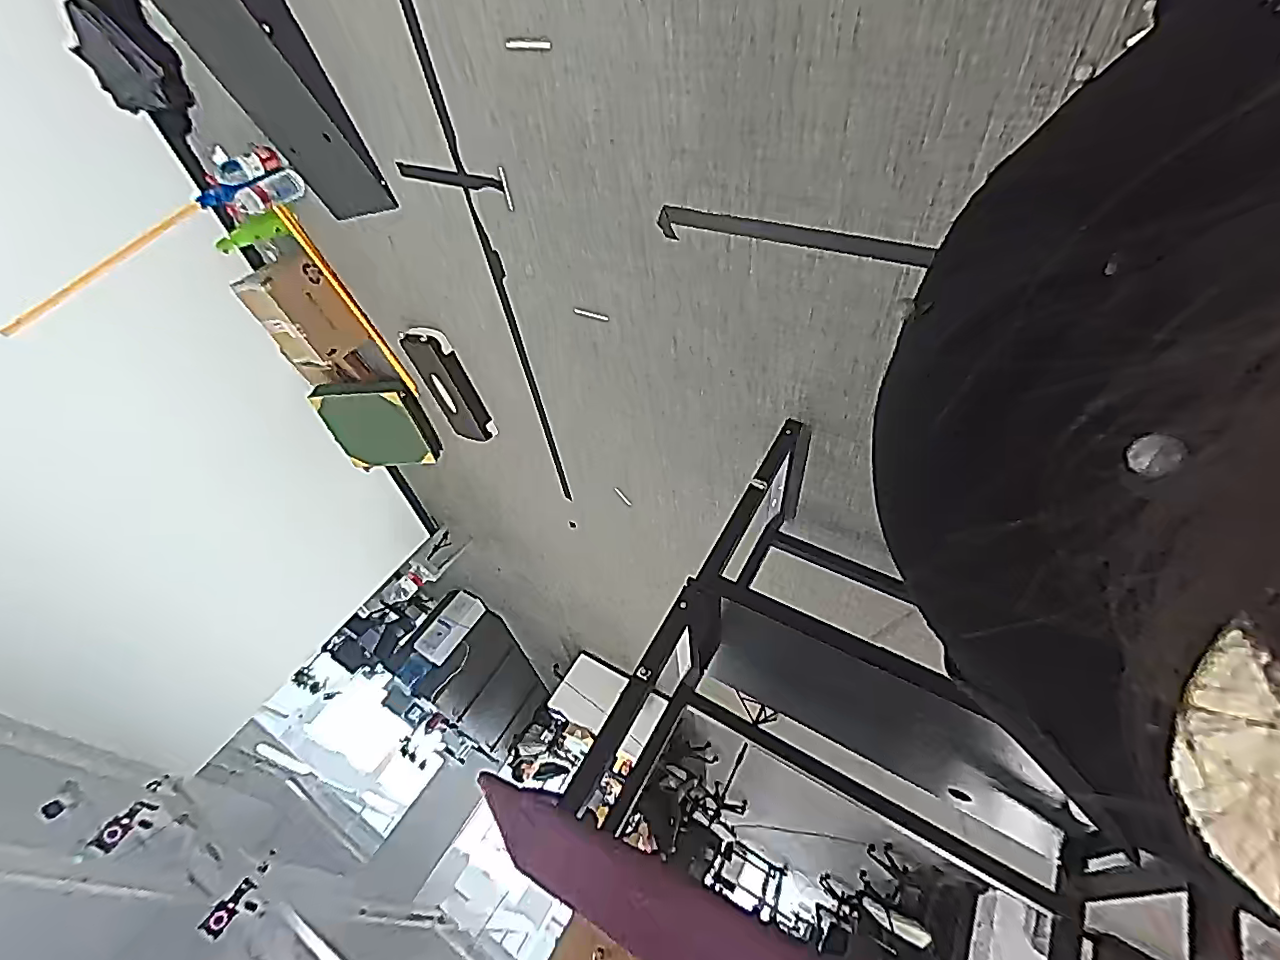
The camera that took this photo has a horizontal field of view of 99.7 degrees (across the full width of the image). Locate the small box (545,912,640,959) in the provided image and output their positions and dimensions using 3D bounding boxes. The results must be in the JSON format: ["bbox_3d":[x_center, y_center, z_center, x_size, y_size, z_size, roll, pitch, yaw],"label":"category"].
[{"bbox_3d":[-0.106,1.024,1.103,0.179,0.176,0.168,23,146,22],"label":"small box"}]
